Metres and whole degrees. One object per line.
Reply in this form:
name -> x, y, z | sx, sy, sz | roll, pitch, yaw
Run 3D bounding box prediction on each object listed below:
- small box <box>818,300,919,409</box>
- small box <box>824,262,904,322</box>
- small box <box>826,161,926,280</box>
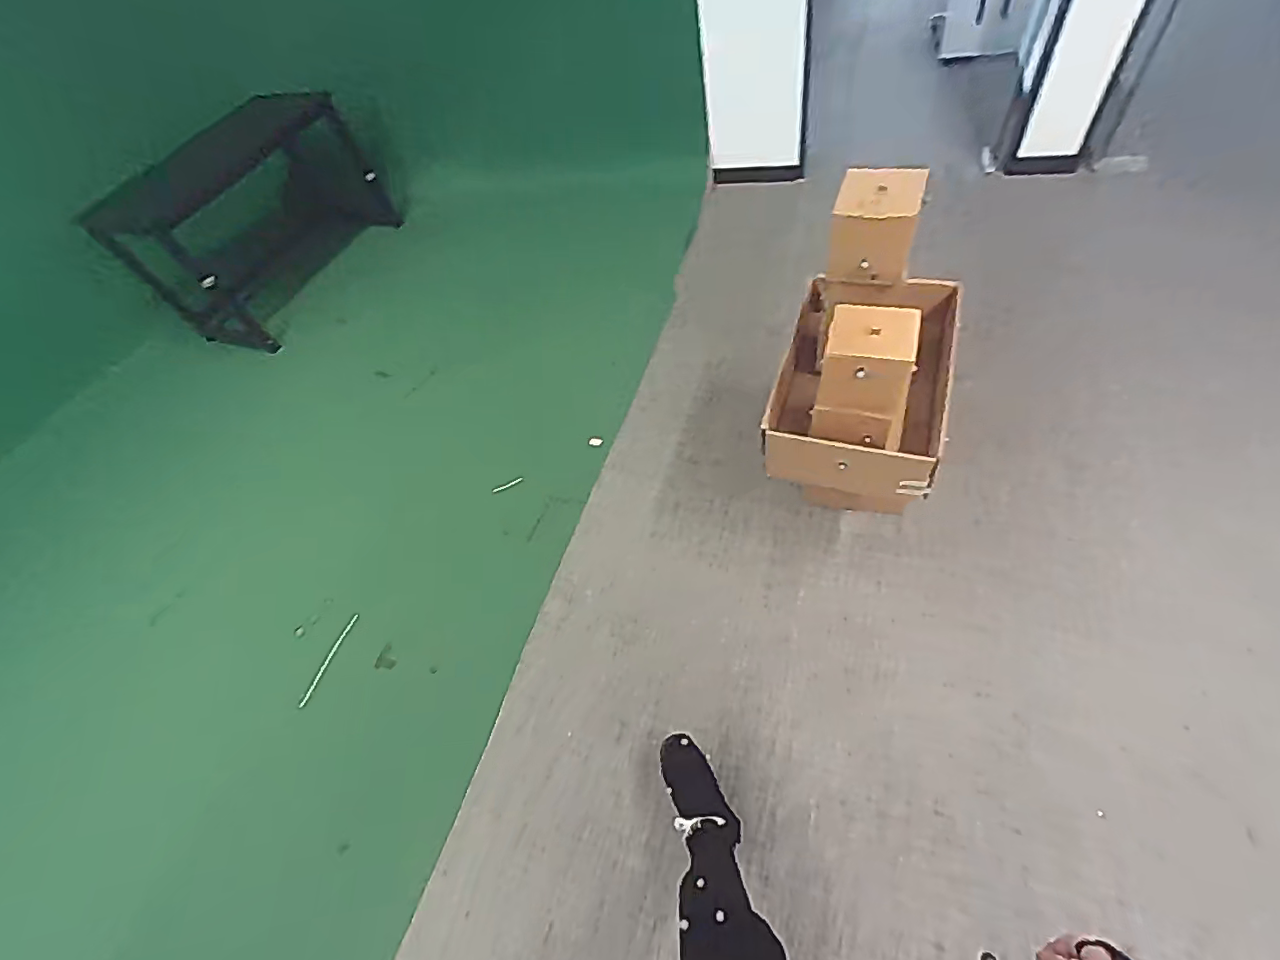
small box -> 0.502, -0.276, 1.201 | 0.179, 0.176, 0.168 | 10, 58, 20
small box -> 0.551, -0.498, 1.338 | 0.168, 0.176, 0.179 | 7, 60, 17
small box -> 0.514, -0.573, 1.194 | 0.168, 0.176, 0.179 | 13, 62, 22
